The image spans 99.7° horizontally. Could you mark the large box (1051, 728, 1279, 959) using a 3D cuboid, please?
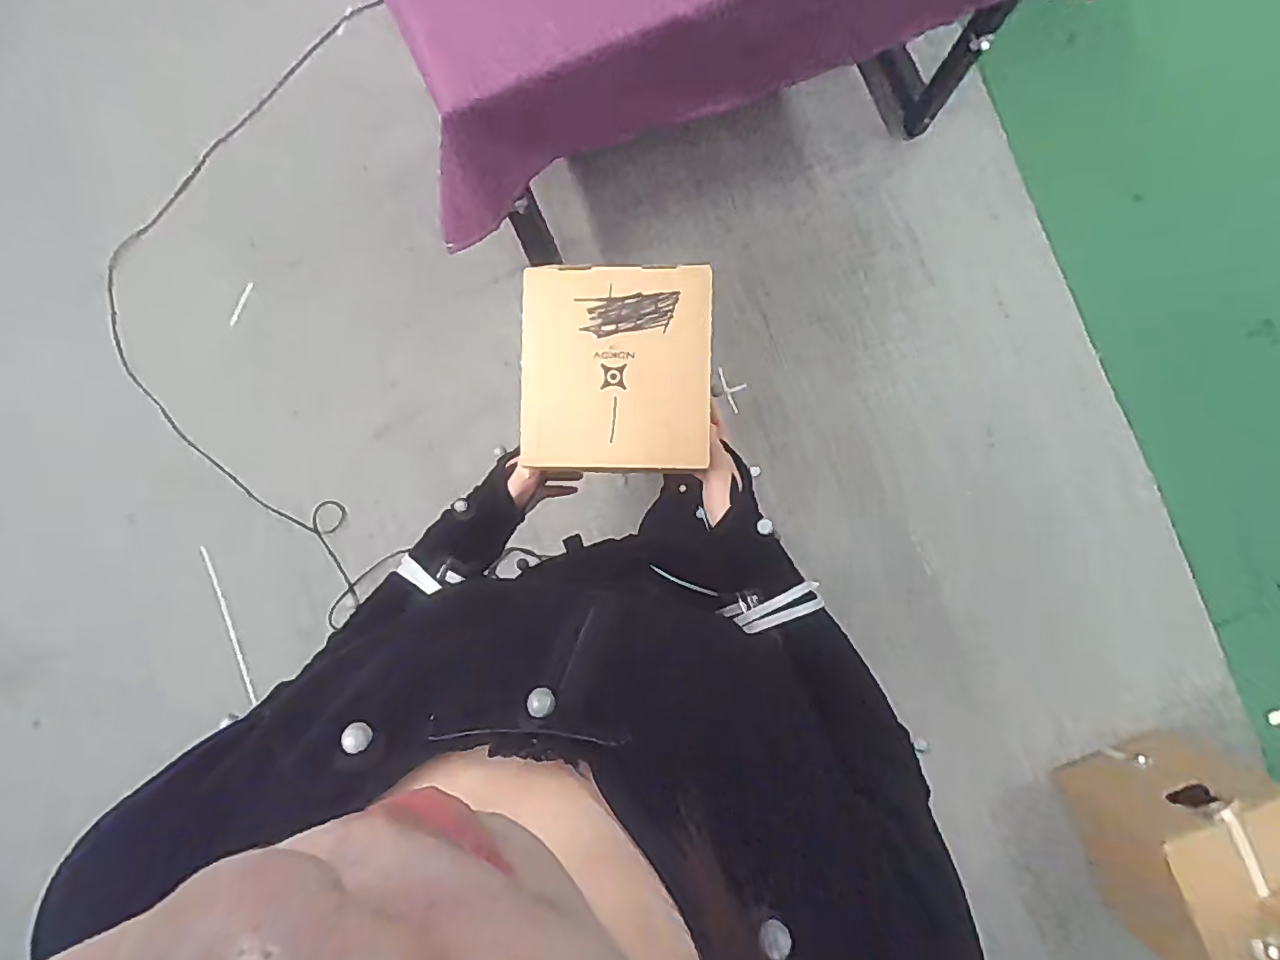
[{"bbox_3d":[1.302,0.890,1.287,0.320,0.320,0.408,-21,88,-1],"label":"large box"}]

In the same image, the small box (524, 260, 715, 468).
[{"bbox_3d":[-0.013,-0.103,0.549,0.168,0.176,0.179,1,91,5],"label":"small box"}]

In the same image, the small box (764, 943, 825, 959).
[{"bbox_3d":[0.325,1.061,1.053,0.168,0.176,0.179,-24,87,-2],"label":"small box"}]
